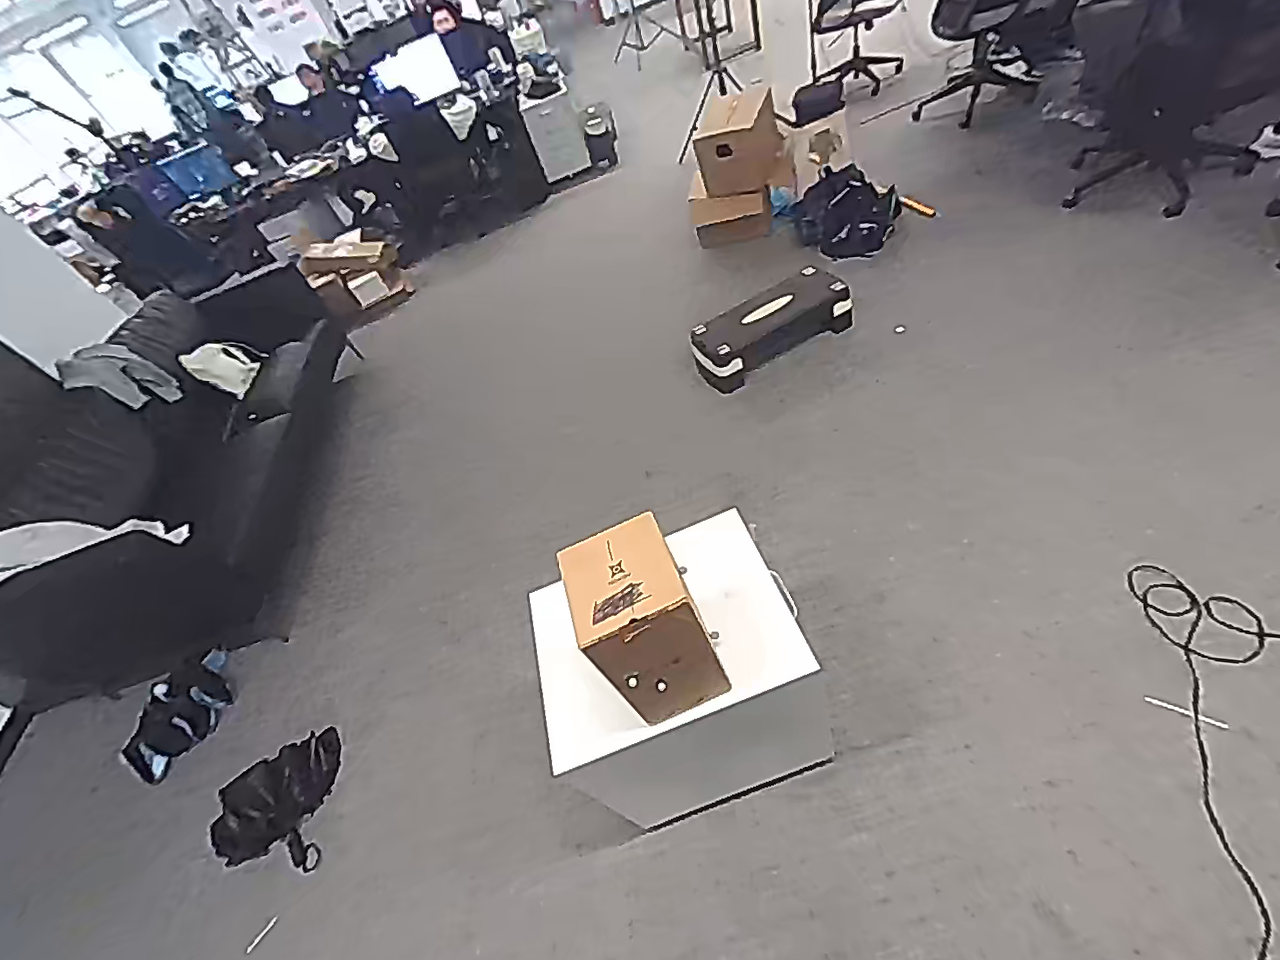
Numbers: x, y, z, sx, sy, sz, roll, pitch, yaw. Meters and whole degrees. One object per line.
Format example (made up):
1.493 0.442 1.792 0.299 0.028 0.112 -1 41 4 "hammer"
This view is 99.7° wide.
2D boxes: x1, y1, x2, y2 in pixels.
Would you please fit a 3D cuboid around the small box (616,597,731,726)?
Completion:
0.042 0.298 0.958 0.168 0.176 0.179 -26 44 0 "small box"

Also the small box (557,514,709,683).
-0.008 0.192 0.842 0.168 0.176 0.179 -25 44 0 "small box"
